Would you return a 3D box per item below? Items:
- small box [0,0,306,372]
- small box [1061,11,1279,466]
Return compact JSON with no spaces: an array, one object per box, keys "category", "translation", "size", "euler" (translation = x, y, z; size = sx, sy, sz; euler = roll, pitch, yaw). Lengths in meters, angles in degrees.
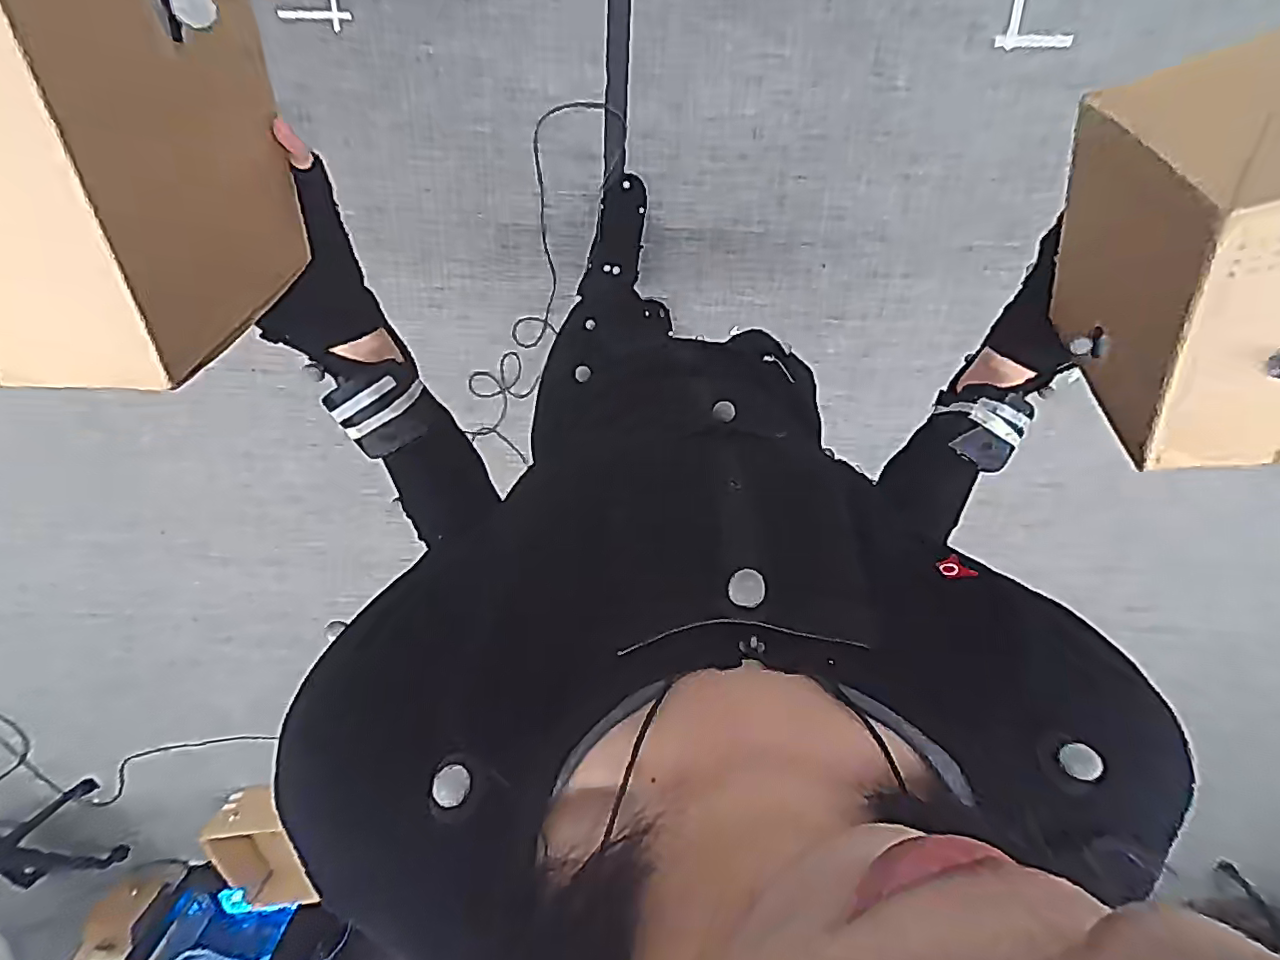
[{"category":"small box","translation":[-0.266,-0.160,0.210],"size":[0.168,0.179,0.176],"euler":[2,129,-12]},{"category":"small box","translation":[0.356,-0.135,0.284],"size":[0.168,0.179,0.176],"euler":[-7,136,23]}]
